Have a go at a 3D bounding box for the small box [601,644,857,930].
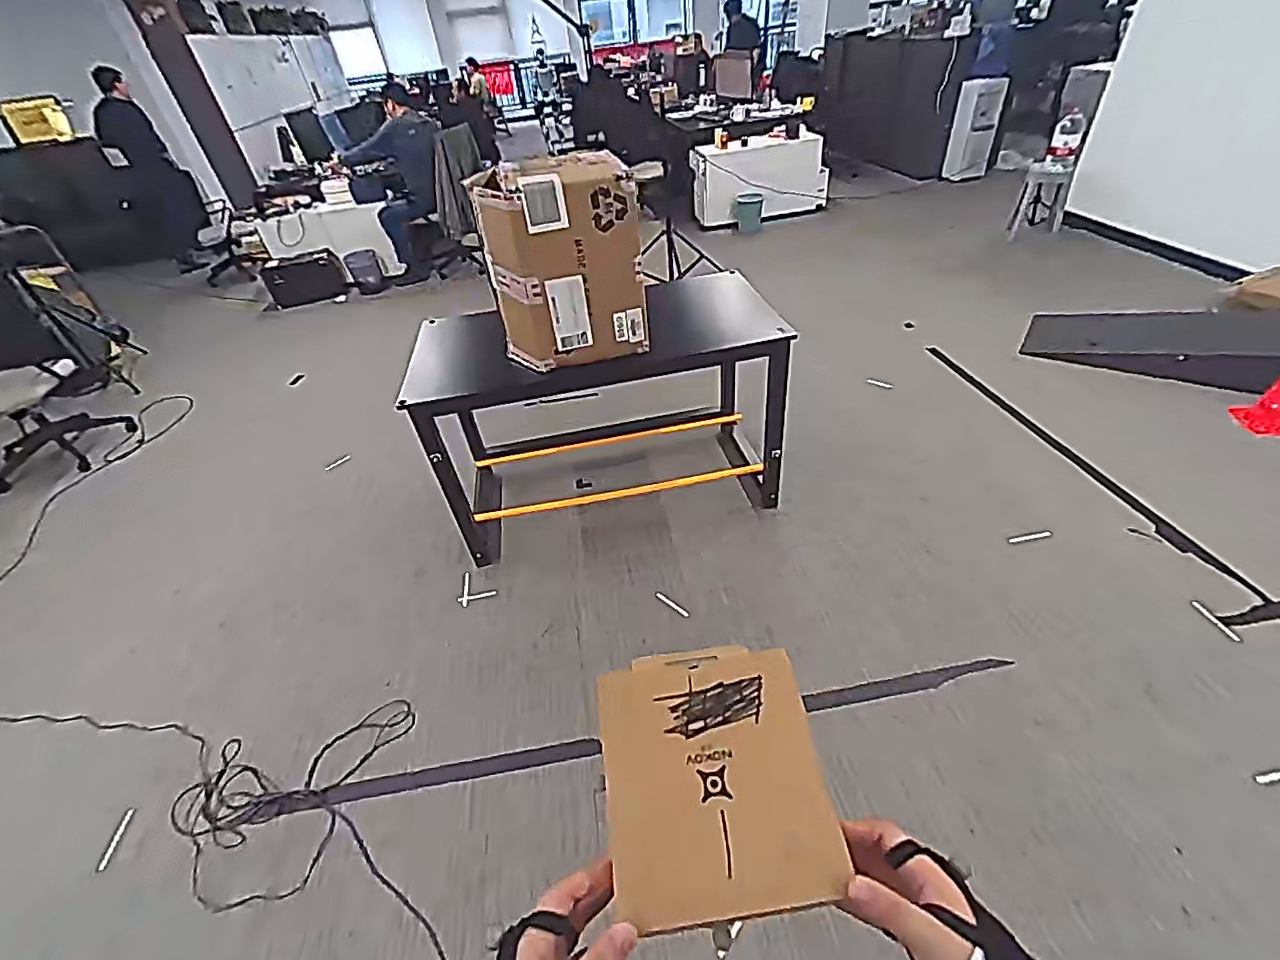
[{"bbox_3d":[0.058,0.269,0.473,0.168,0.176,0.179,-8,50,-3],"label":"small box"}]
